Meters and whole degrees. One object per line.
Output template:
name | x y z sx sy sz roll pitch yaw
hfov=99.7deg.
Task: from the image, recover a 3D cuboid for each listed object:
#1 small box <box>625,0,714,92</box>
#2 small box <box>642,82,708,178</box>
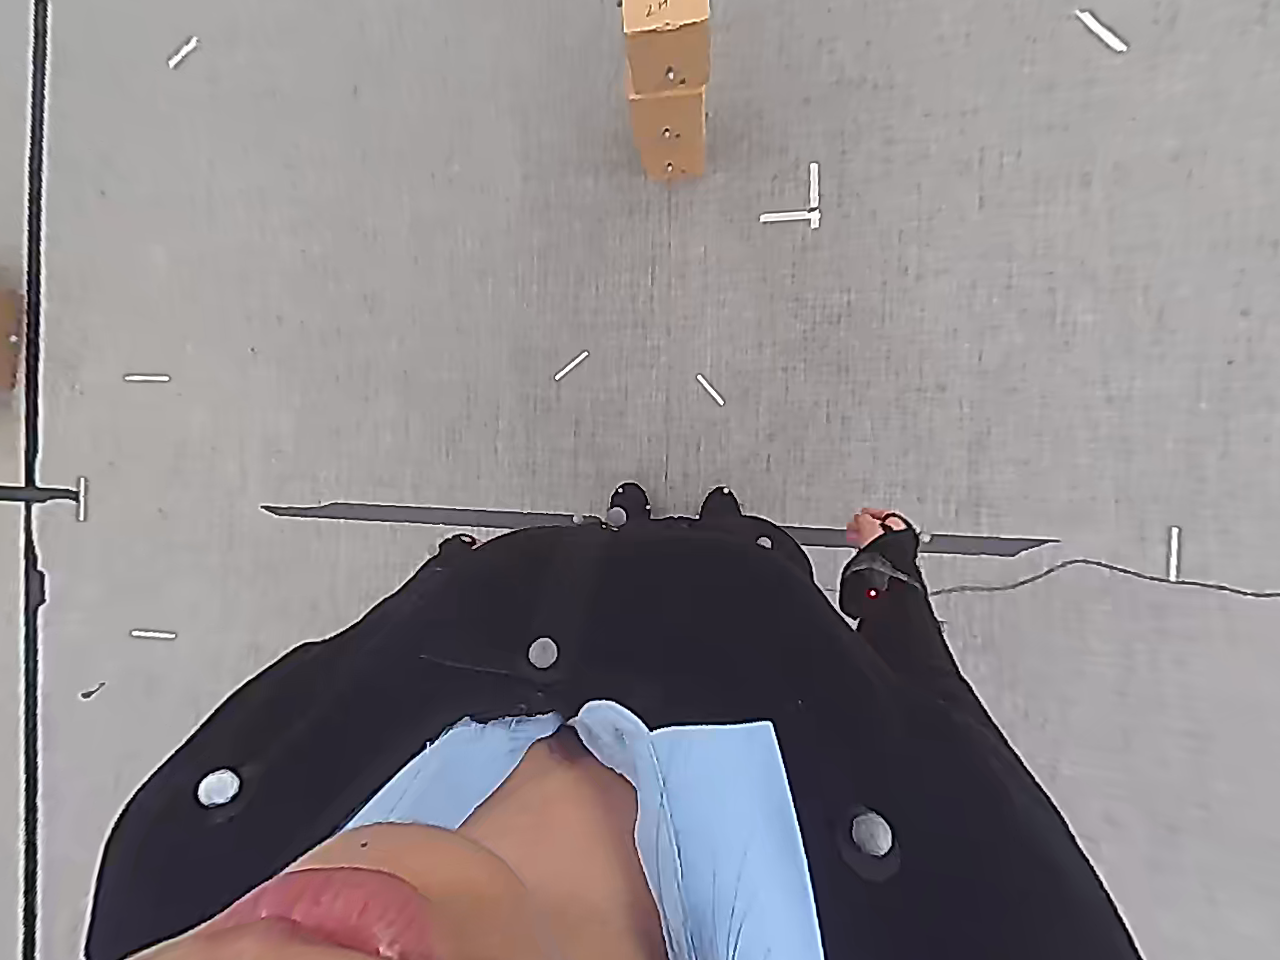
small box | 0.060 -0.931 1.086 0.168 0.176 0.179 -4 91 7
small box | 0.094 -0.925 1.414 0.168 0.176 0.179 0 90 7
